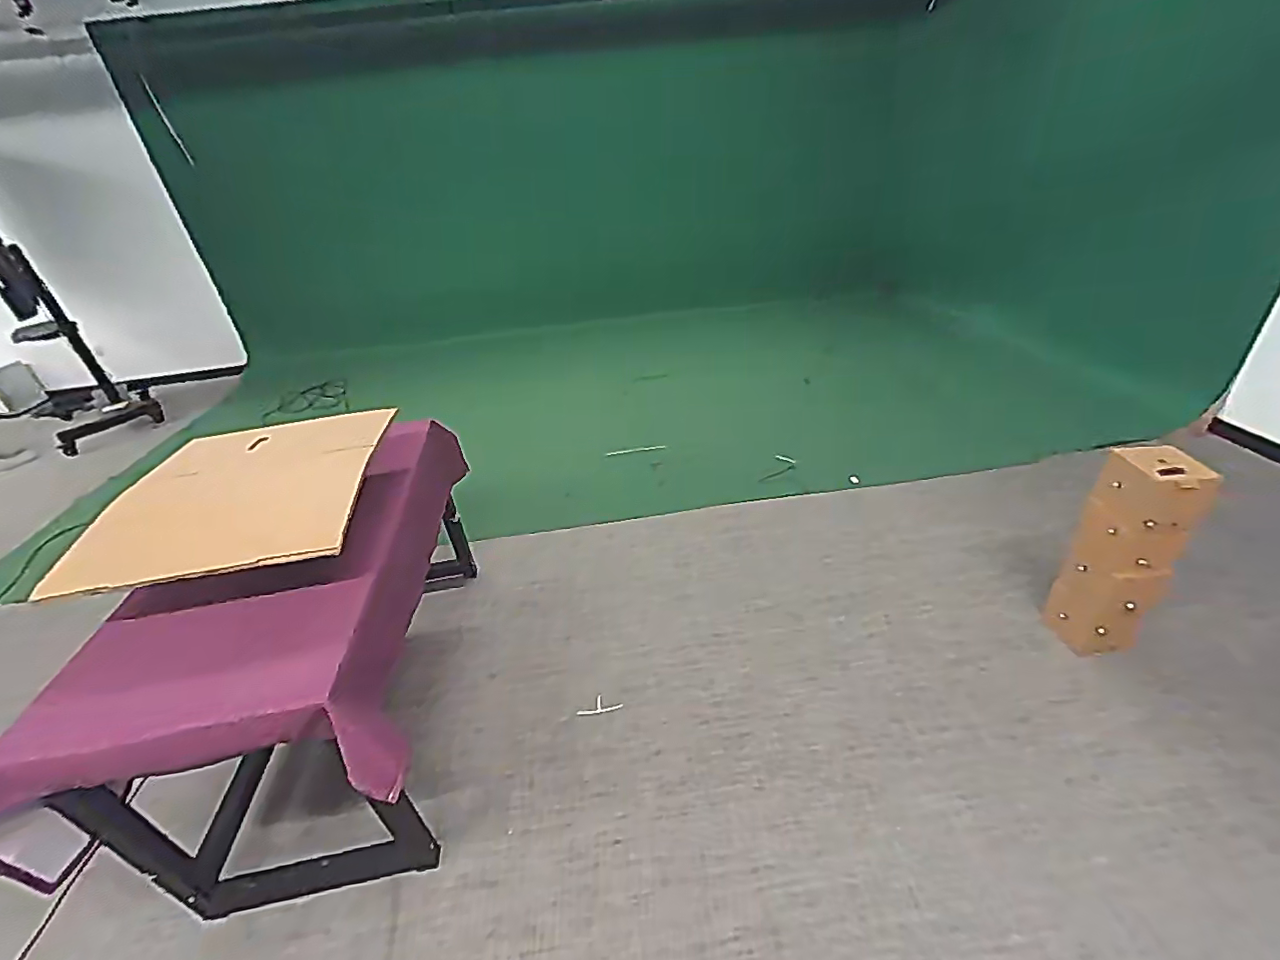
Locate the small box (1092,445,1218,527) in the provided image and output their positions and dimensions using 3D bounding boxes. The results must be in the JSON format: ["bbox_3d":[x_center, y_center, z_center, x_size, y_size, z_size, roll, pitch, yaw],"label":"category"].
[{"bbox_3d":[1.429,0.020,1.515,0.168,0.176,0.179,-3,31,5],"label":"small box"}]

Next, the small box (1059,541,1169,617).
[{"bbox_3d":[1.459,0.300,1.681,0.168,0.176,0.179,-7,32,1],"label":"small box"}]

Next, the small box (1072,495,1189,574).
[{"bbox_3d":[1.442,0.157,1.605,0.168,0.176,0.179,-5,33,3],"label":"small box"}]
